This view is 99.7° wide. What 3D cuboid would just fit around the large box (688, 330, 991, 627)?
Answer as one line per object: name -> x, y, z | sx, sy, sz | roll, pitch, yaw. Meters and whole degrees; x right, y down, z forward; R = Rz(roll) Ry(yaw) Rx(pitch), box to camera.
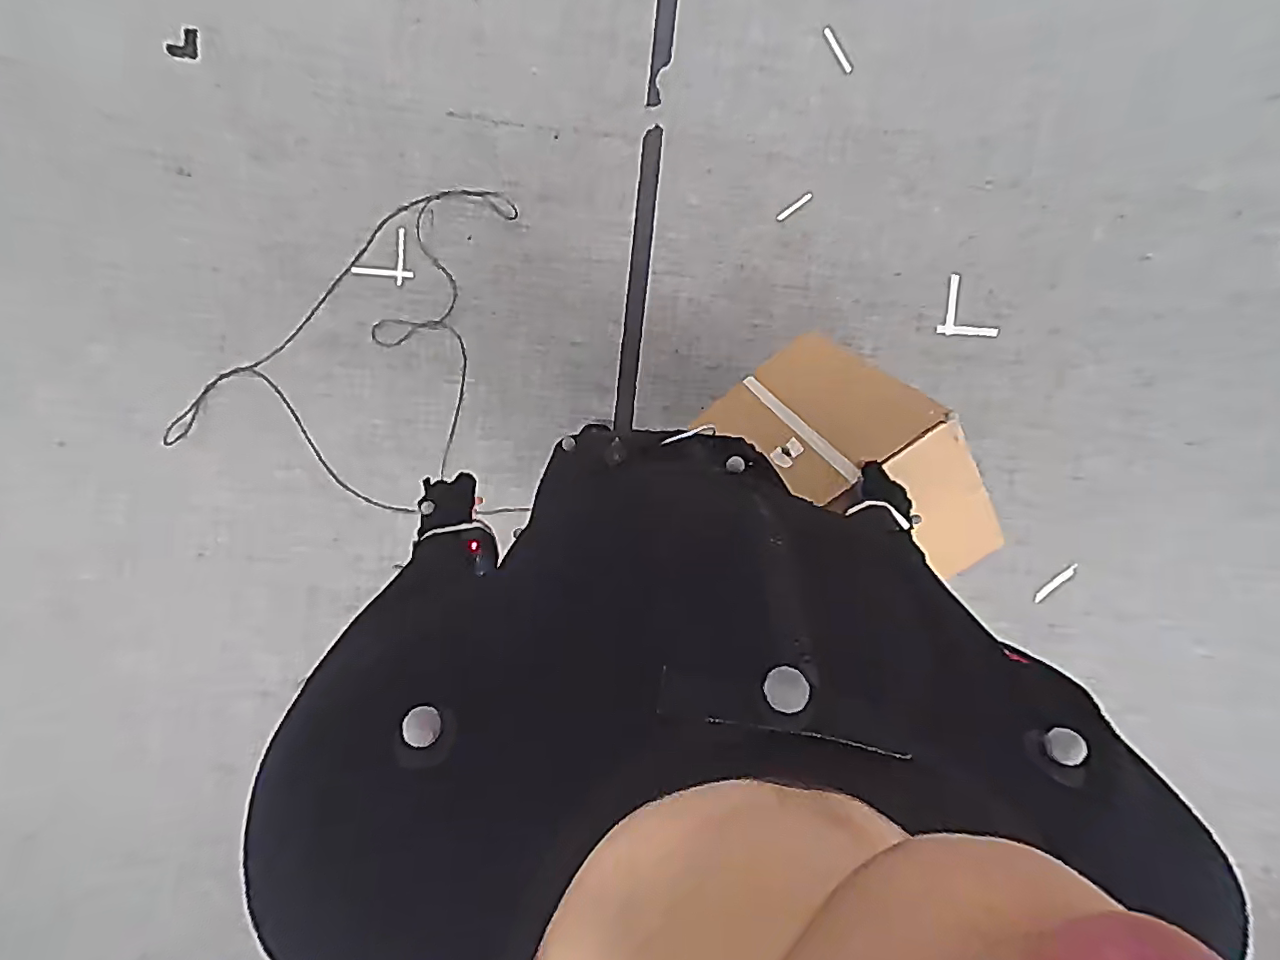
large box -> 0.349, -0.016, 1.012 | 0.320, 0.408, 0.320 | -38, 124, 10
